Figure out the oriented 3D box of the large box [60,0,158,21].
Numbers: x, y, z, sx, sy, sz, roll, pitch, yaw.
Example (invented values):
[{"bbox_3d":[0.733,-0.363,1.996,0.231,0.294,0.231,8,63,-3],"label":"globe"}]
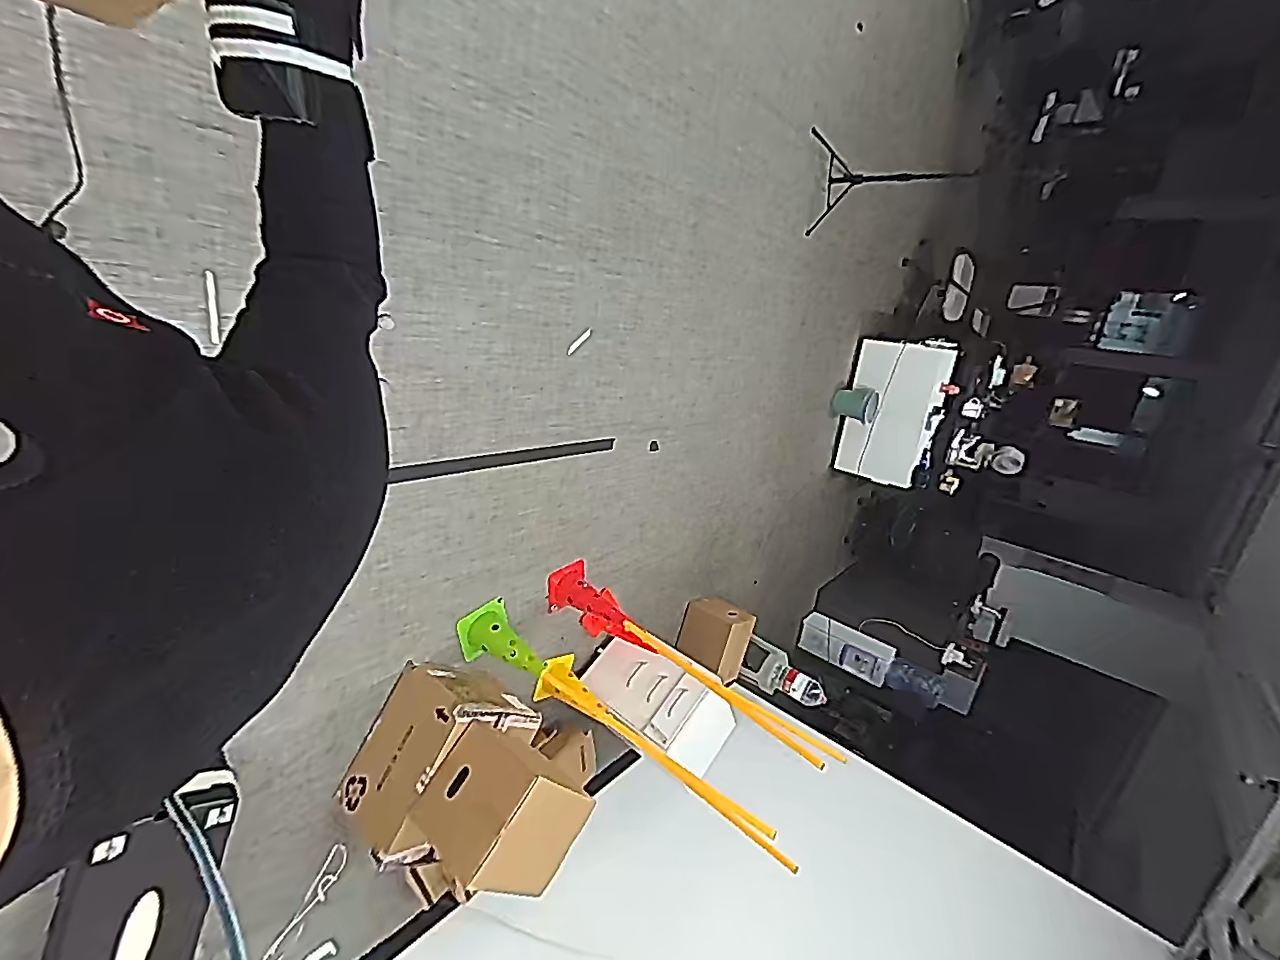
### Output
[{"bbox_3d":[-0.450,-0.476,0.210,0.408,0.320,0.320,-13,120,-50],"label":"large box"}]
